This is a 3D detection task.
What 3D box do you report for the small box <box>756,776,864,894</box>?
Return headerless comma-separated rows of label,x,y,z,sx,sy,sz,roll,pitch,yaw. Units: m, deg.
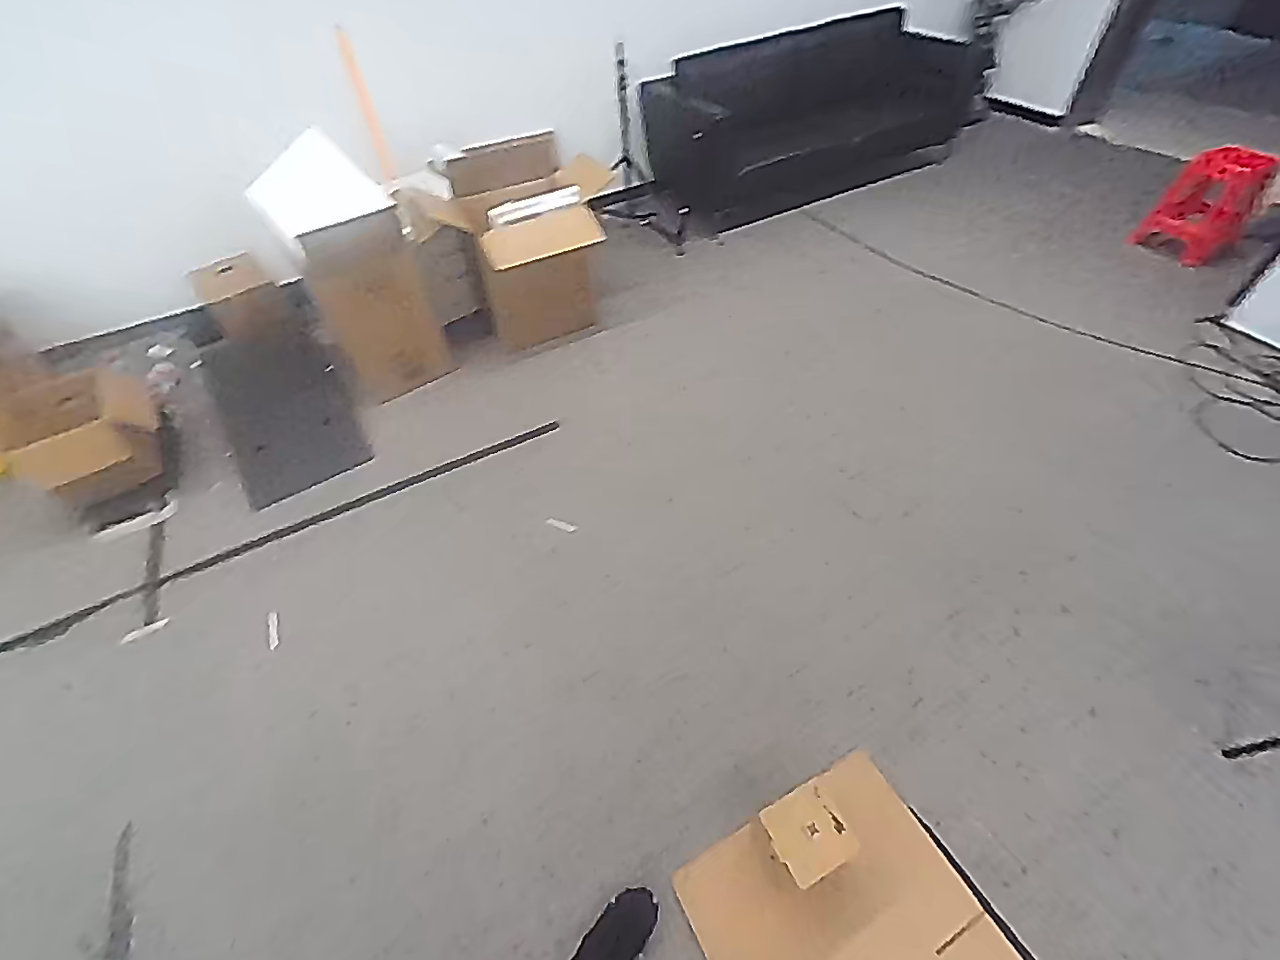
small box,0.388,0.837,1.270,0.179,0.176,0.168,-22,51,-14
